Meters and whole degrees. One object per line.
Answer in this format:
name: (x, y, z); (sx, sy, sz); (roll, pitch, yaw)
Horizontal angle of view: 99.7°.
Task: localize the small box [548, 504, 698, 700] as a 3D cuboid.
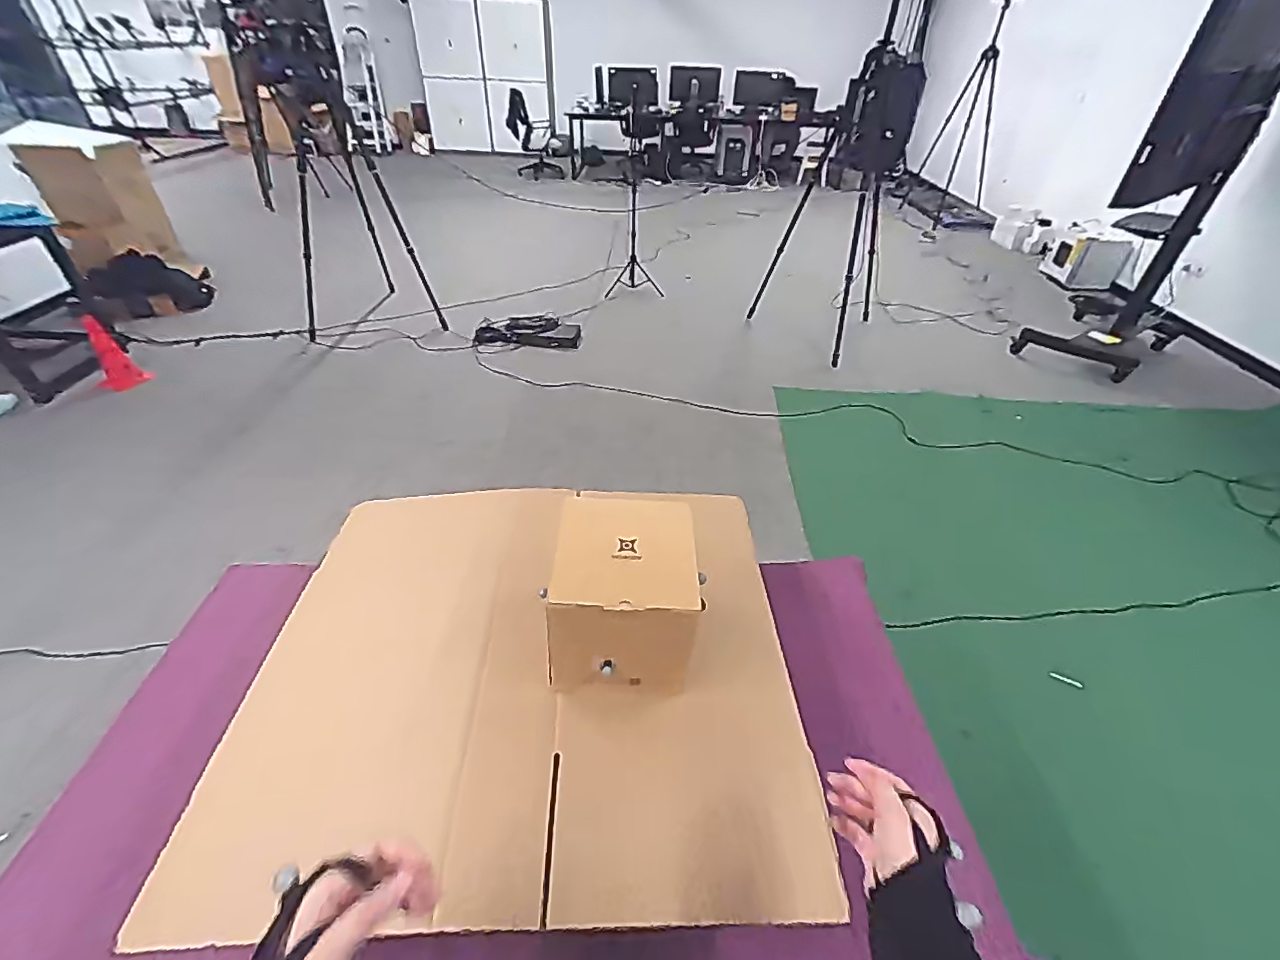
small box: (-0.023, 0.153, 0.691); (0.168, 0.176, 0.179); (3, 40, -2)
